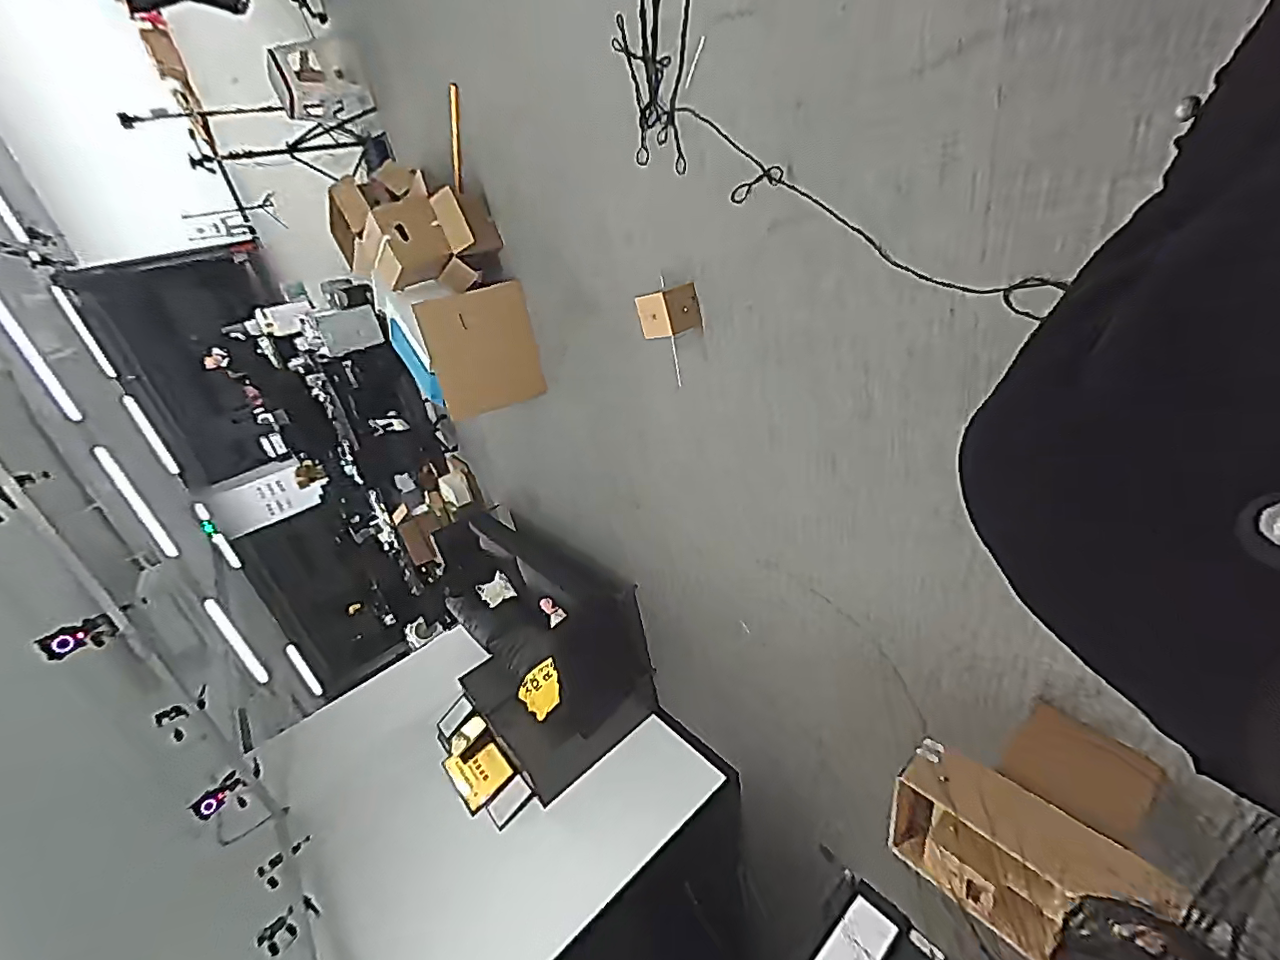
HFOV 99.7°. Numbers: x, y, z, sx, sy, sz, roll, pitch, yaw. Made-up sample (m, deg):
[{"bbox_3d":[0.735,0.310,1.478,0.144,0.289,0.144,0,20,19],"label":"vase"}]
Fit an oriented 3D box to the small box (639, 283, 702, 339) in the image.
[{"bbox_3d":[0.127,-0.663,2.124,0.179,0.176,0.168,14,127,52],"label":"small box"}]
